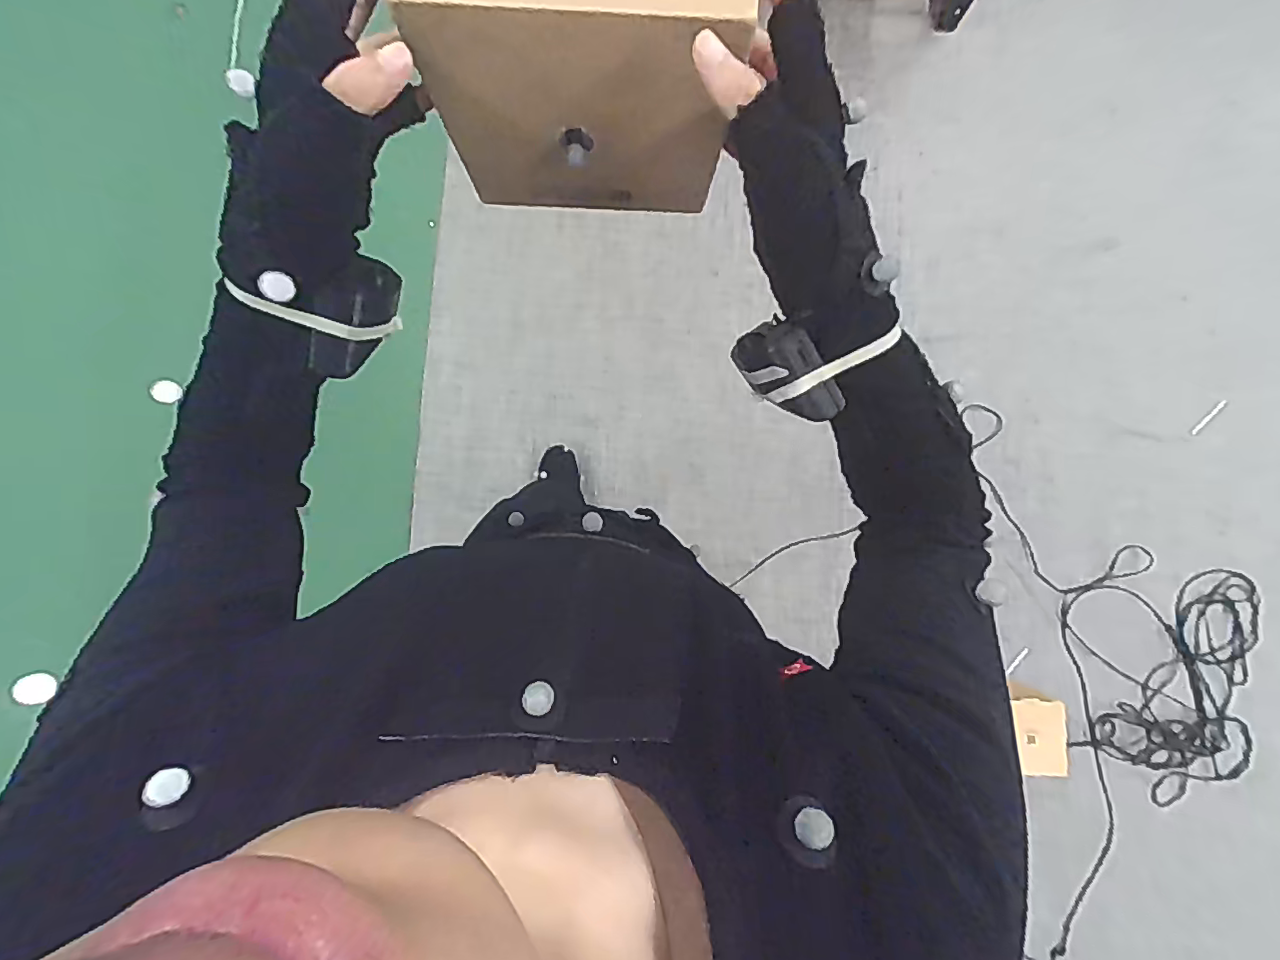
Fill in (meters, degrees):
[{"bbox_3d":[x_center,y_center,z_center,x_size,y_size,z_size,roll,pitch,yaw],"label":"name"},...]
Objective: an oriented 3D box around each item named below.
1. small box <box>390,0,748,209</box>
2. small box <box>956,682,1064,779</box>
[{"bbox_3d":[-0.030,-0.289,0.325,0.168,0.176,0.179,2,88,-2],"label":"small box"},{"bbox_3d":[0.926,0.627,1.366,0.168,0.176,0.179,2,84,-1],"label":"small box"}]
